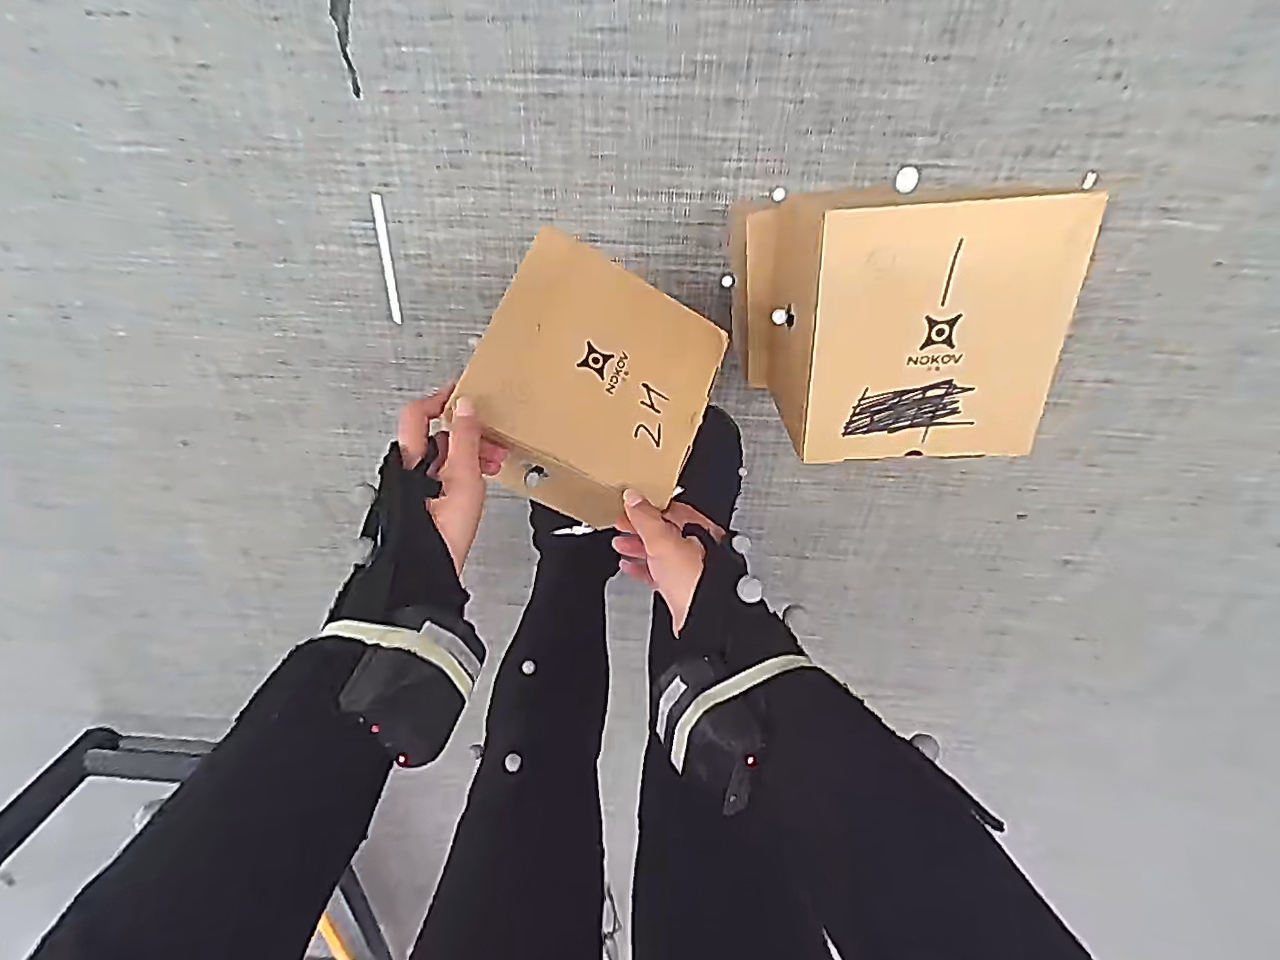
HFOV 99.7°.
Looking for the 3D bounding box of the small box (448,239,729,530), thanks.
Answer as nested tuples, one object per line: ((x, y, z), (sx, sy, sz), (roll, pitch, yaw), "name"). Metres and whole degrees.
((-0.055, -0.063, 0.479), (0.179, 0.168, 0.176), (26, 162, -15), "small box")

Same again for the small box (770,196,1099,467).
((0.202, -0.125, 0.437), (0.168, 0.176, 0.179), (-2, 118, 4), "small box")
